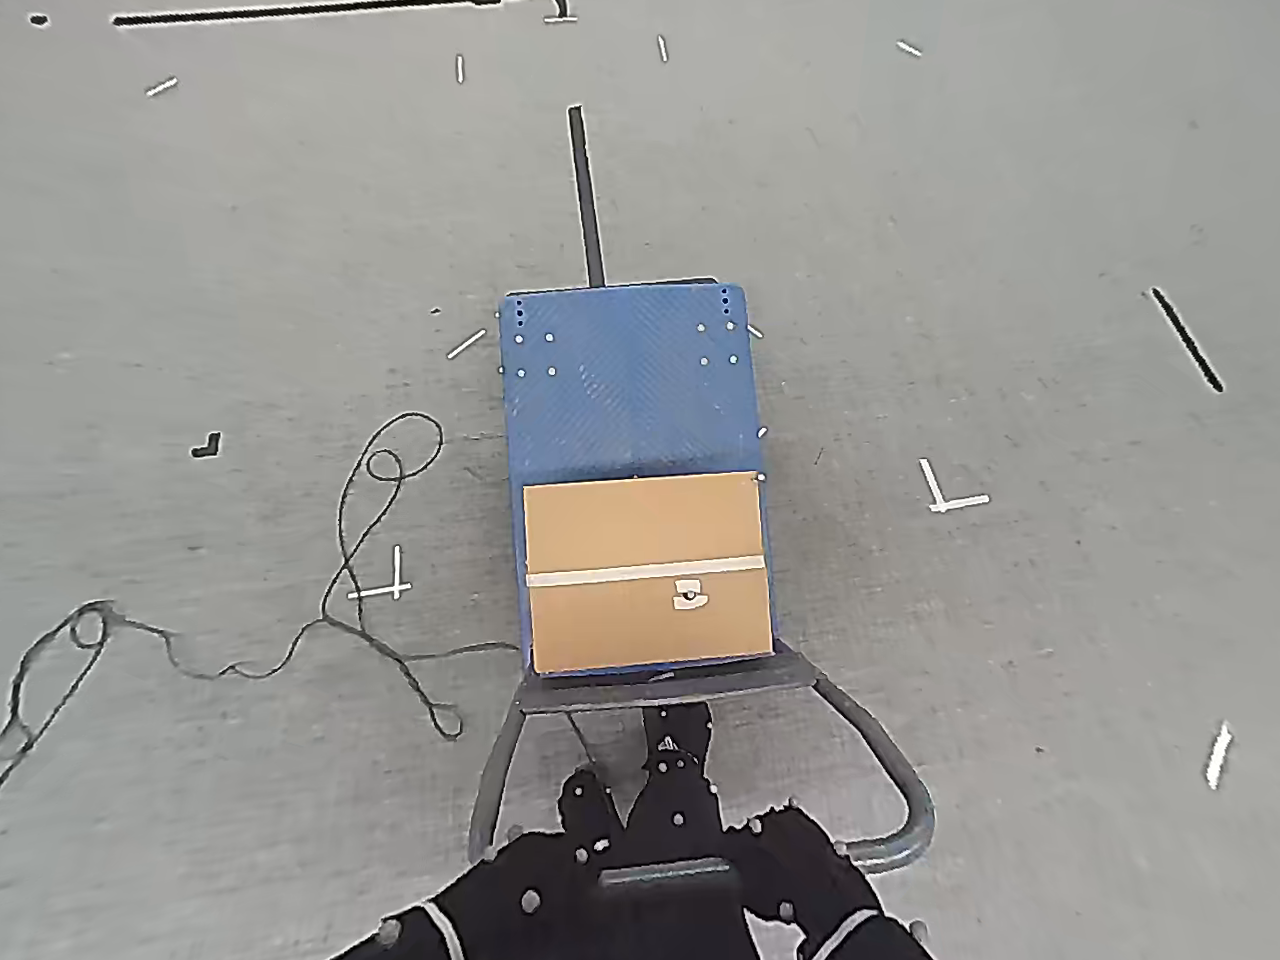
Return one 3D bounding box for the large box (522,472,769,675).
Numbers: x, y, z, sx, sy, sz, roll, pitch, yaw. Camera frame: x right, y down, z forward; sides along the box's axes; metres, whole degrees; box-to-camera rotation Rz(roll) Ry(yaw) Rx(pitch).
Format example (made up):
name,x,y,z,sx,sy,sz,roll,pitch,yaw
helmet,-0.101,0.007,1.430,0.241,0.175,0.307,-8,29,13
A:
name,x,y,z,sx,sy,sz,roll,pitch,yaw
large box,-0.001,0.165,1.062,0.408,0.320,0.320,-4,87,-5
